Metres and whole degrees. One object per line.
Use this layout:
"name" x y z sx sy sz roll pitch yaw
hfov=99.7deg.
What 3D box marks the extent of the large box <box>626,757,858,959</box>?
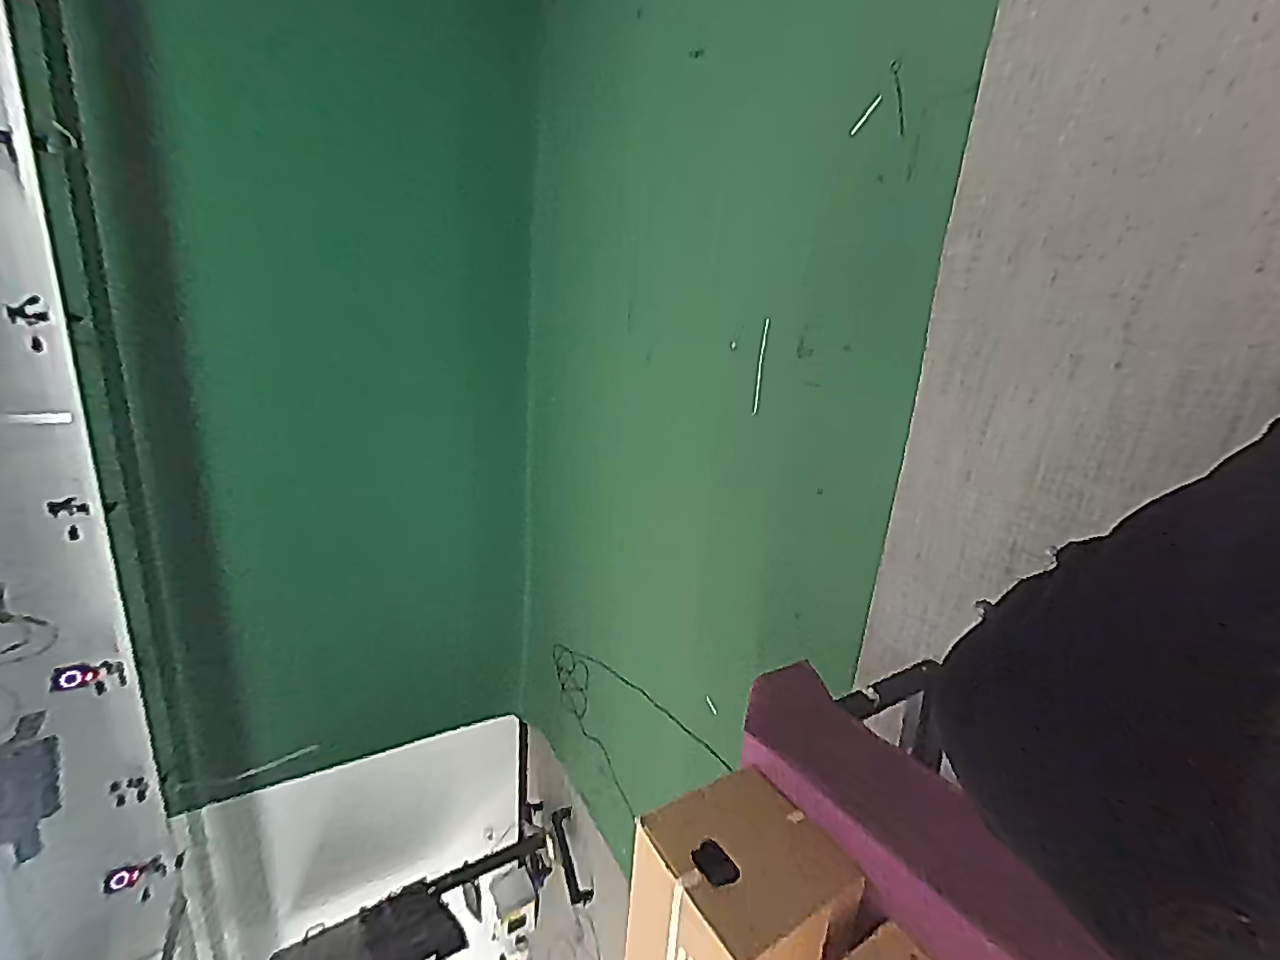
"large box" 0.189 0.869 1.090 0.320 0.320 0.408 26 115 53
